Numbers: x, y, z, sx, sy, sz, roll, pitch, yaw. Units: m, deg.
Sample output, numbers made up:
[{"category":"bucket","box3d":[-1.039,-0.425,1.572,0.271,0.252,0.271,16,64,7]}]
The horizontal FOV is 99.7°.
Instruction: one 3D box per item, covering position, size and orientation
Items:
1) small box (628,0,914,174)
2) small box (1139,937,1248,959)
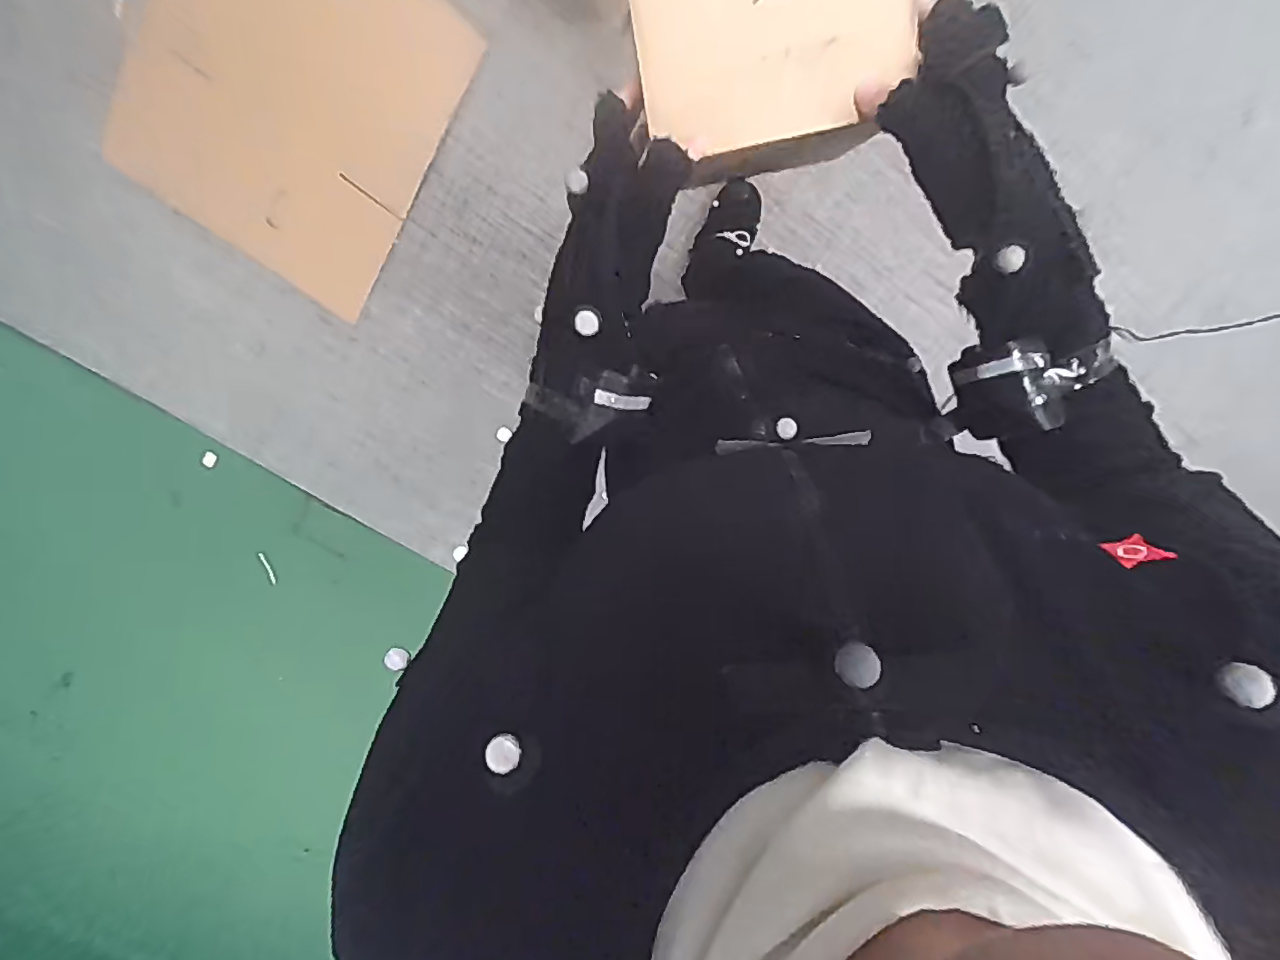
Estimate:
[{"category":"small box","box3d":[0.076,-0.341,0.384,0.168,0.176,0.179,-9,112,8]},{"category":"small box","box3d":[1.110,1.011,1.024,0.168,0.176,0.179,33,115,-14]}]
